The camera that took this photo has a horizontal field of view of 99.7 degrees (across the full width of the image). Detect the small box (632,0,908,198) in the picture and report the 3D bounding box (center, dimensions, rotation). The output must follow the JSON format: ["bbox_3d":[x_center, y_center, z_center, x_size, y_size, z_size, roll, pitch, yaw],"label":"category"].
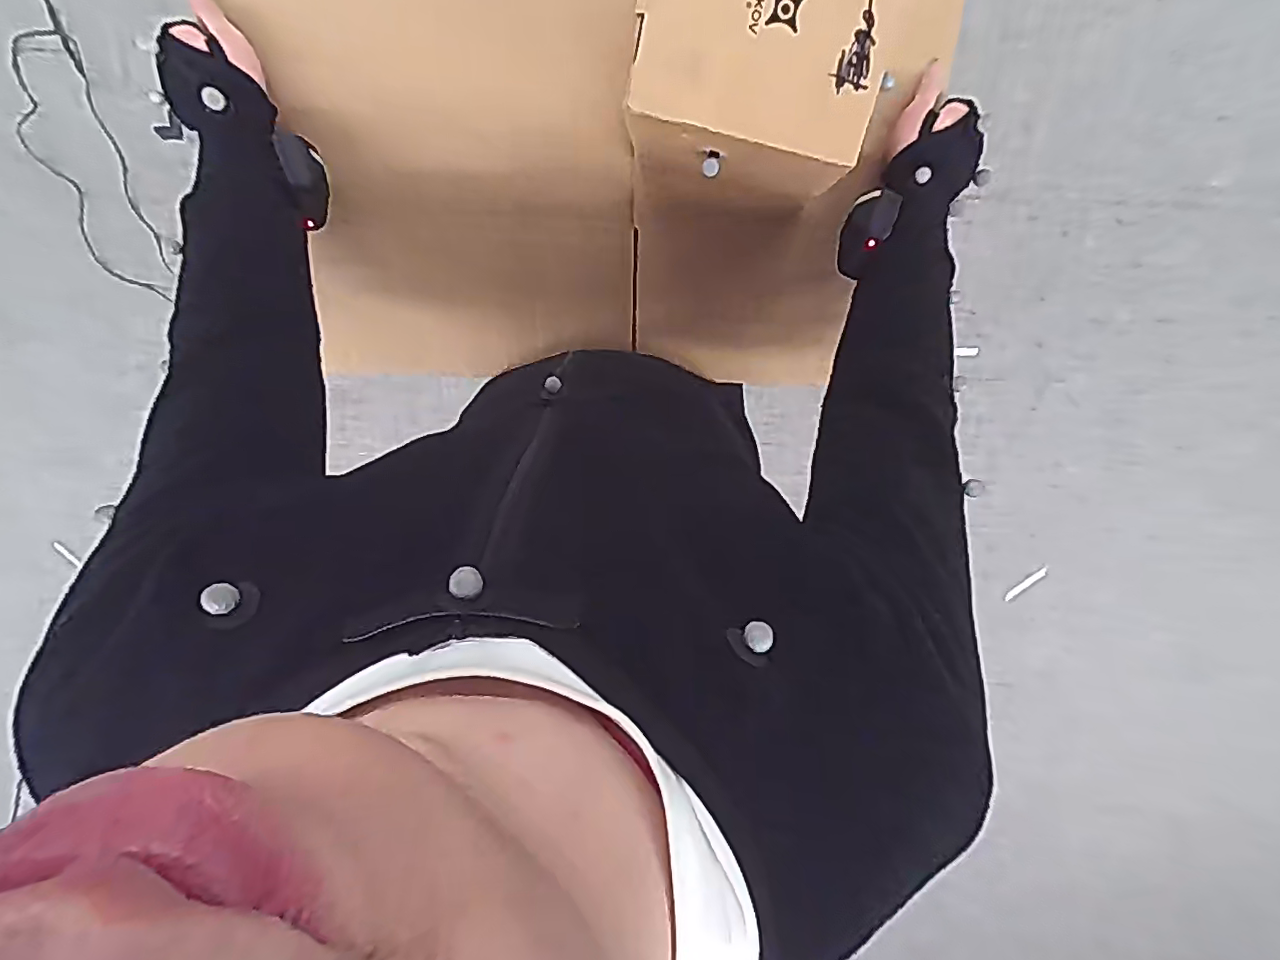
[{"bbox_3d":[0.103,-0.354,0.452,0.179,0.176,0.168,14,108,0],"label":"small box"}]
